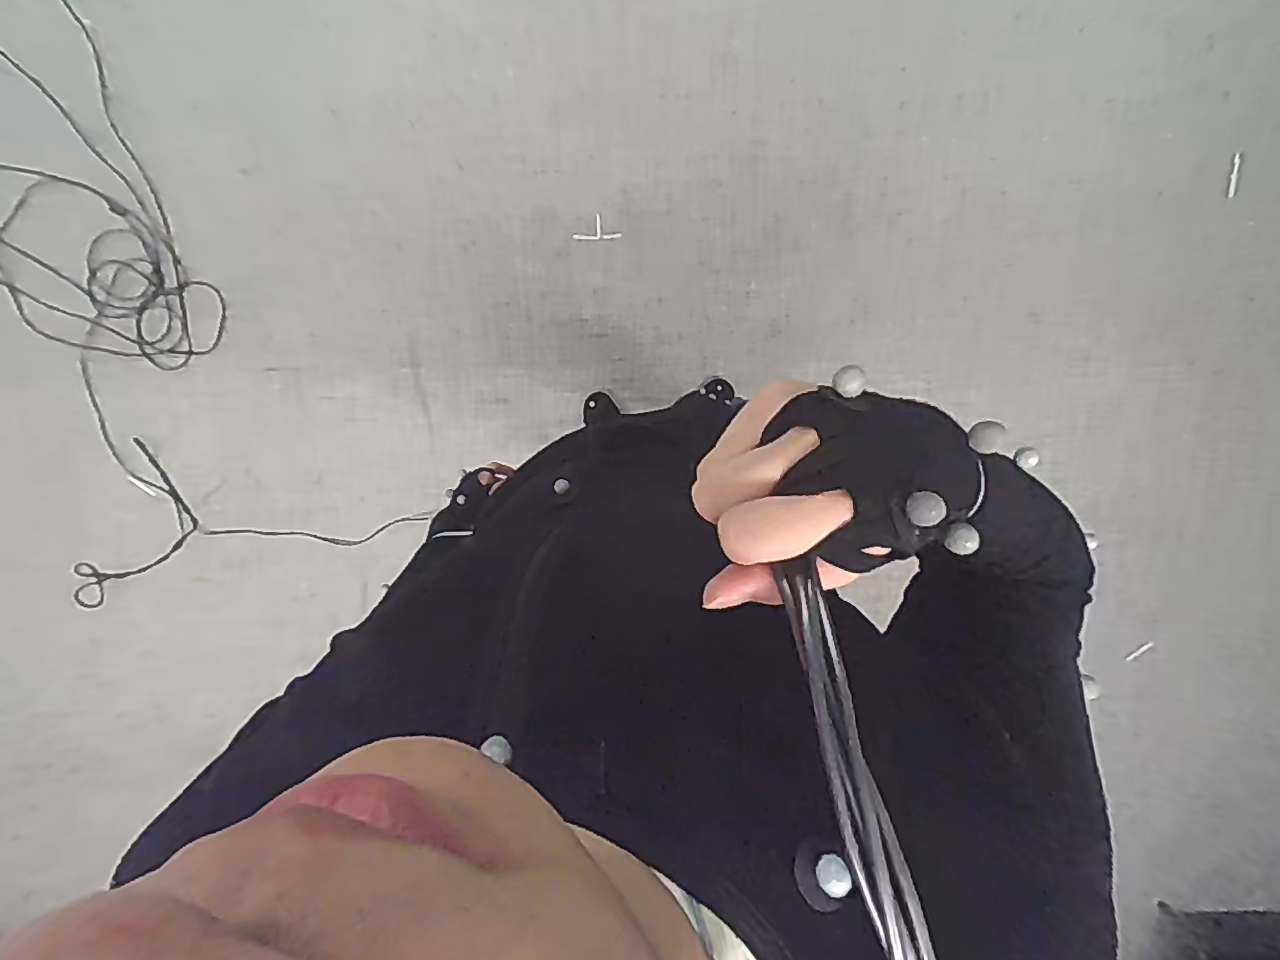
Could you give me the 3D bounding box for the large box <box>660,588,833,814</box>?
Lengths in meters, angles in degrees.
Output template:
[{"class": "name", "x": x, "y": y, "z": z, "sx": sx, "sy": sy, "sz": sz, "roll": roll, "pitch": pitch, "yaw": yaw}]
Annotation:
[{"class": "large box", "x": 0.260, "y": 0.556, "z": 1.416, "sx": 0.320, "sy": 0.320, "sz": 0.408, "roll": -16, "pitch": 102, "yaw": 2}]
